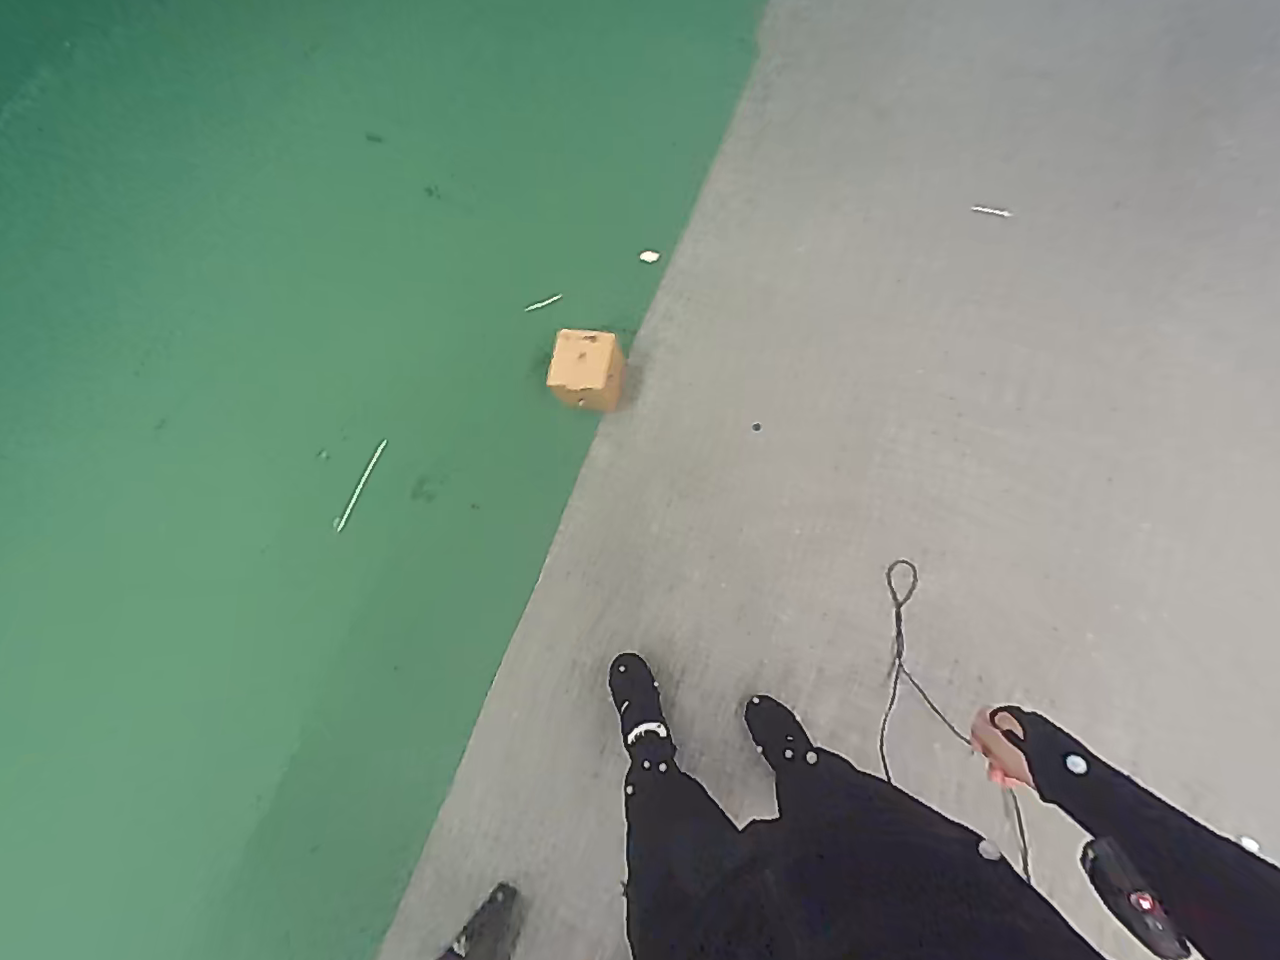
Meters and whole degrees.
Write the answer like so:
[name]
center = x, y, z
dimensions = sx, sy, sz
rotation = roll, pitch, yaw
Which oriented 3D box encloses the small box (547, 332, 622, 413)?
[small box]
center = -0.156, -0.312, 1.595
dimensions = 0.168, 0.176, 0.179
rotation = 8, 77, 10
